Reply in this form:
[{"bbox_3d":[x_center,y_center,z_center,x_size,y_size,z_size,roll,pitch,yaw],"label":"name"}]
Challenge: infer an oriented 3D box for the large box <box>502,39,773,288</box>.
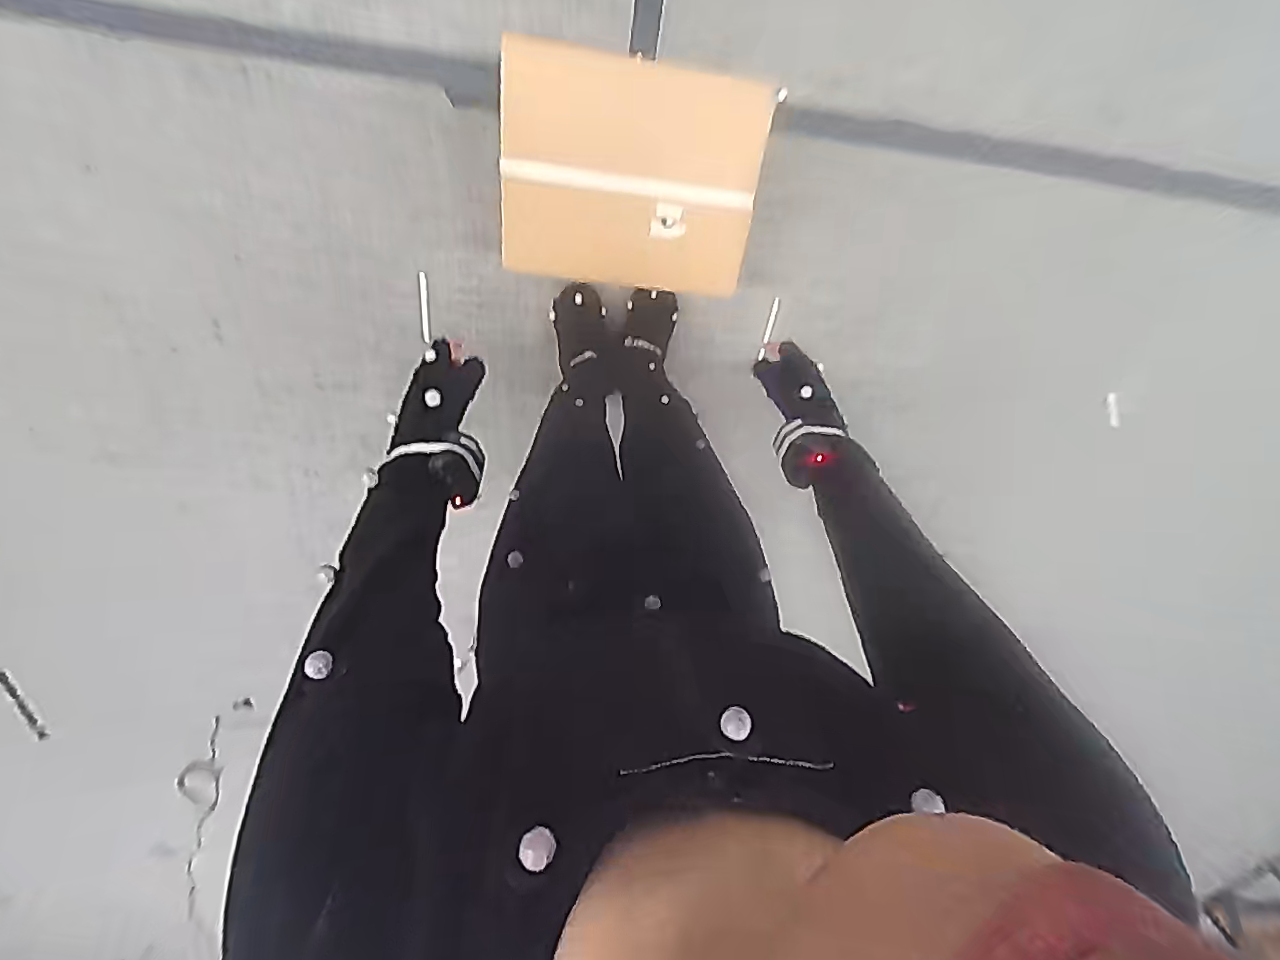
[{"bbox_3d":[-0.028,-0.559,0.984,0.408,0.320,0.320,4,123,-8],"label":"large box"}]
